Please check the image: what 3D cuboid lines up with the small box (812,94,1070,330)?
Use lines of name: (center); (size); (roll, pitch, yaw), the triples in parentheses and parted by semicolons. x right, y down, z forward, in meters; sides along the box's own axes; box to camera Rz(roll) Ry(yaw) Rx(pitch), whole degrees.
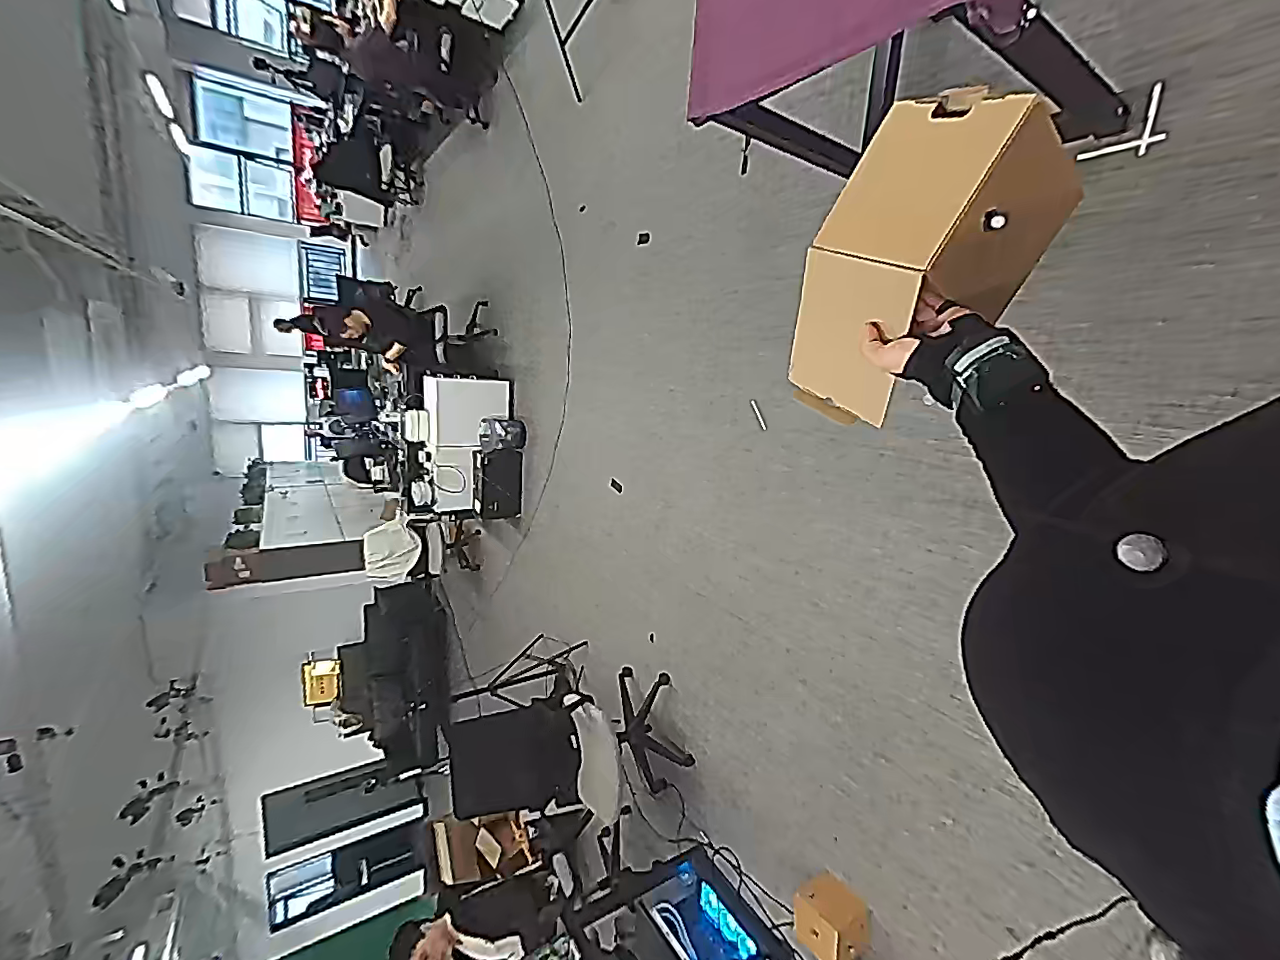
small box: (0.344, -0.297, 0.622); (0.179, 0.176, 0.168); (-60, 39, 14)
